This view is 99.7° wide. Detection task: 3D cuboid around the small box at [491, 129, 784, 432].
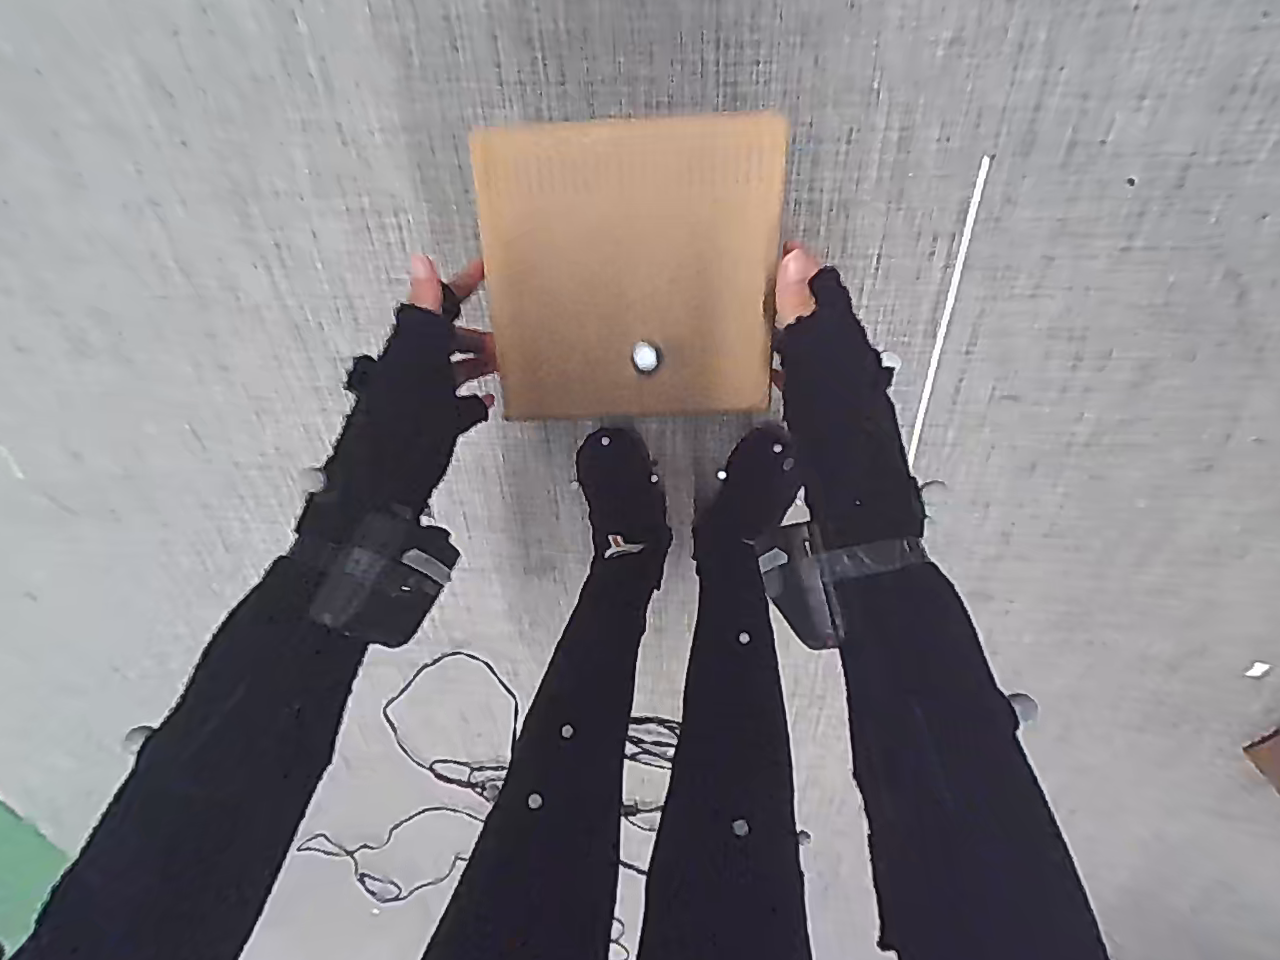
[{"bbox_3d":[-0.002,-0.144,0.398,0.179,0.168,0.176,-3,115,2],"label":"small box"}]
